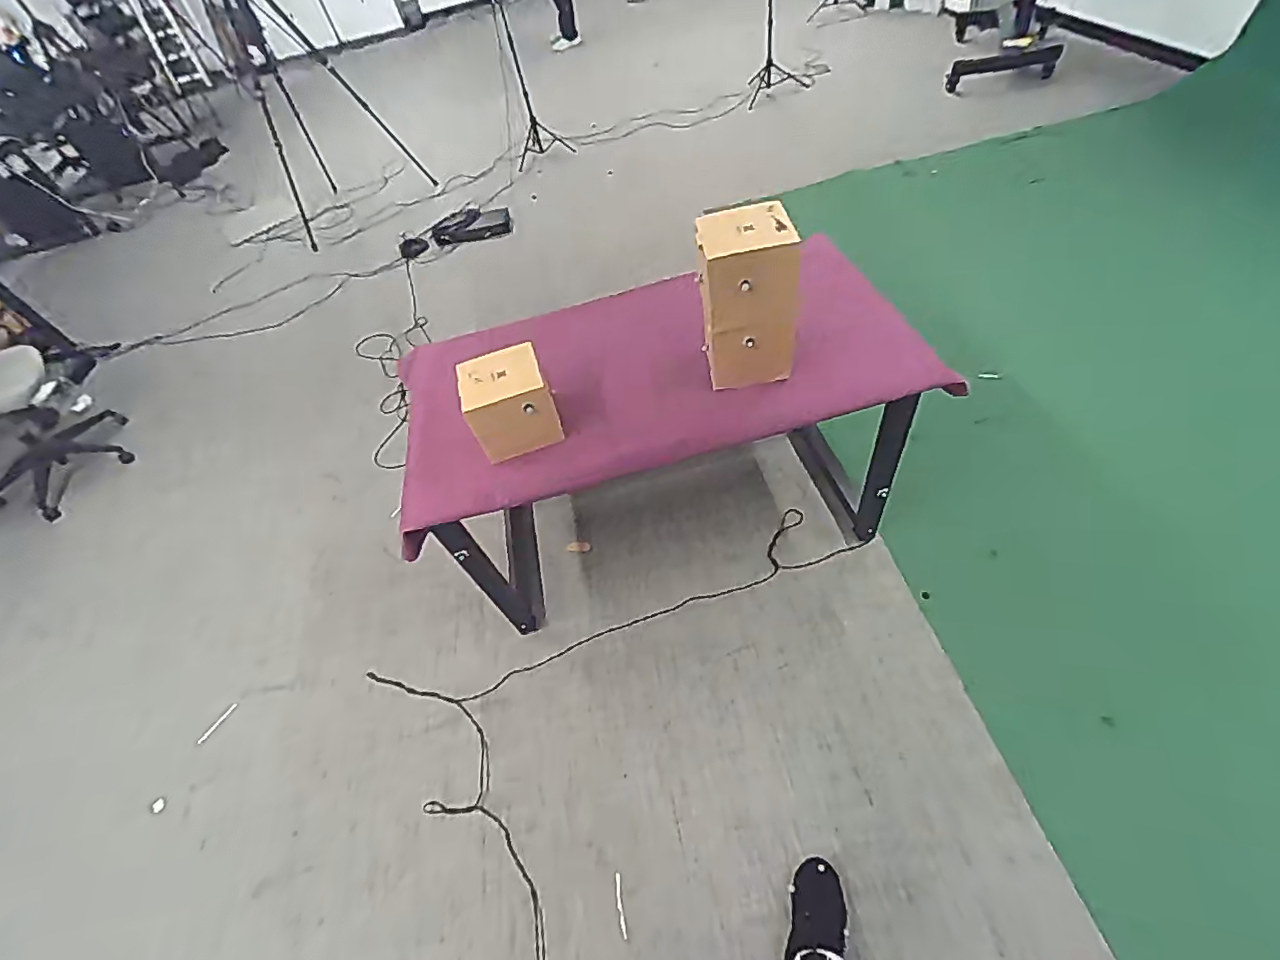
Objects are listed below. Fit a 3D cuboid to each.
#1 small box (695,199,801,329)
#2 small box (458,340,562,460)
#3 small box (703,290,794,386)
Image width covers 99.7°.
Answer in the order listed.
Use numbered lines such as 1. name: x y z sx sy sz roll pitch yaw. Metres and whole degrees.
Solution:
1. small box: 0.214 -0.425 1.082 0.179 0.176 0.168 -10 52 5
2. small box: -0.282 -0.173 1.198 0.179 0.176 0.168 -19 51 -3
3. small box: 0.241 -0.327 1.210 0.179 0.176 0.168 -7 52 6
